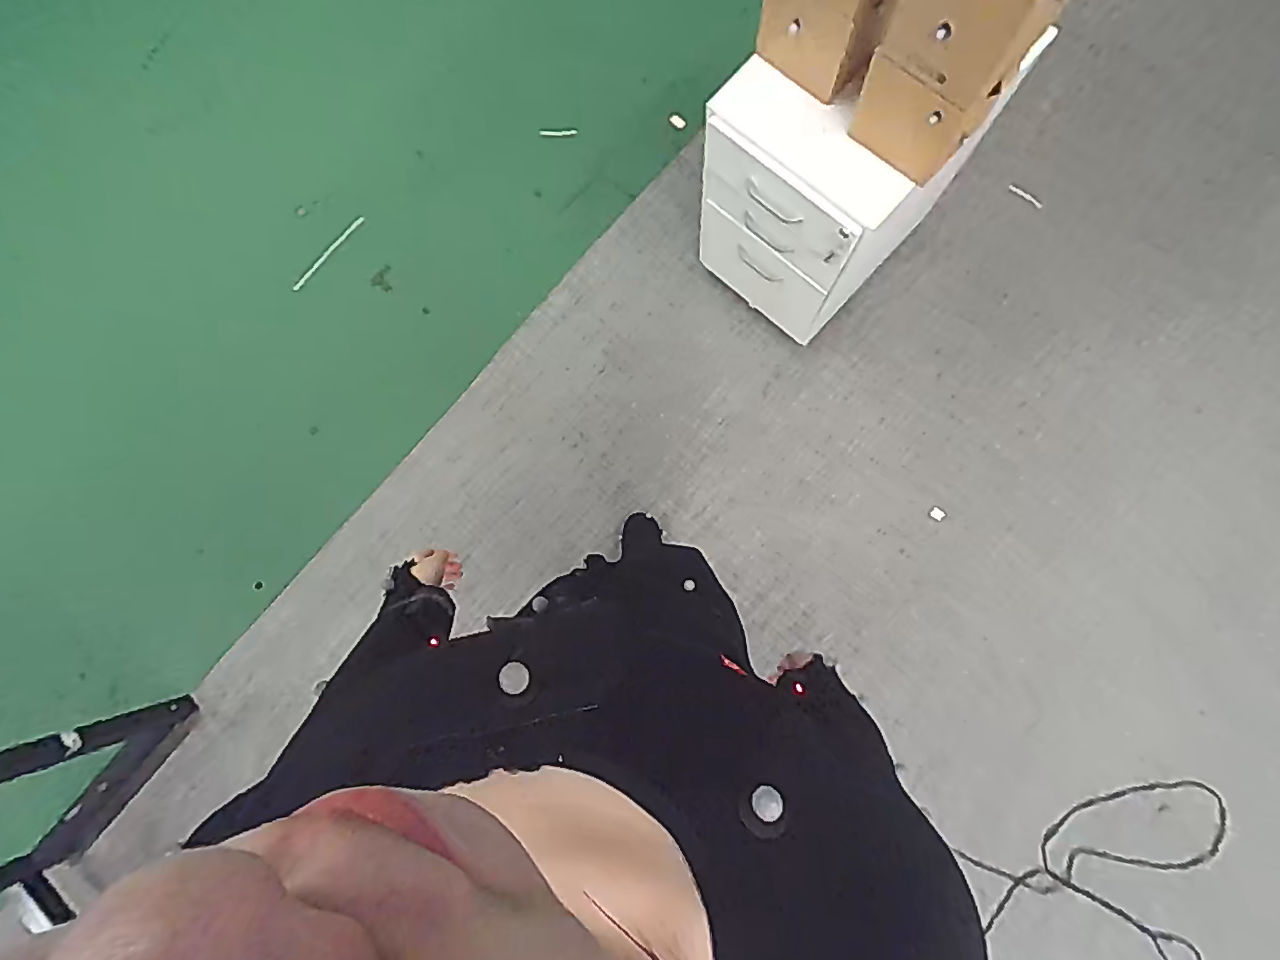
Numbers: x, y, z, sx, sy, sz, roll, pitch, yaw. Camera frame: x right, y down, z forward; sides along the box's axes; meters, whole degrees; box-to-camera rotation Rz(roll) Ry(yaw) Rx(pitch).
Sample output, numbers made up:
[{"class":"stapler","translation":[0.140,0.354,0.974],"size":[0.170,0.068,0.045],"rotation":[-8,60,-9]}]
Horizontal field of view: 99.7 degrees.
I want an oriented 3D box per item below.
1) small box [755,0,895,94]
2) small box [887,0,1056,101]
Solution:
[{"class":"small box","translation":[0.319,-0.819,0.921],"size":[0.179,0.176,0.168],"rotation":[42,88,6]},{"class":"small box","translation":[0.465,-0.670,0.726],"size":[0.168,0.176,0.179],"rotation":[44,87,8]}]
